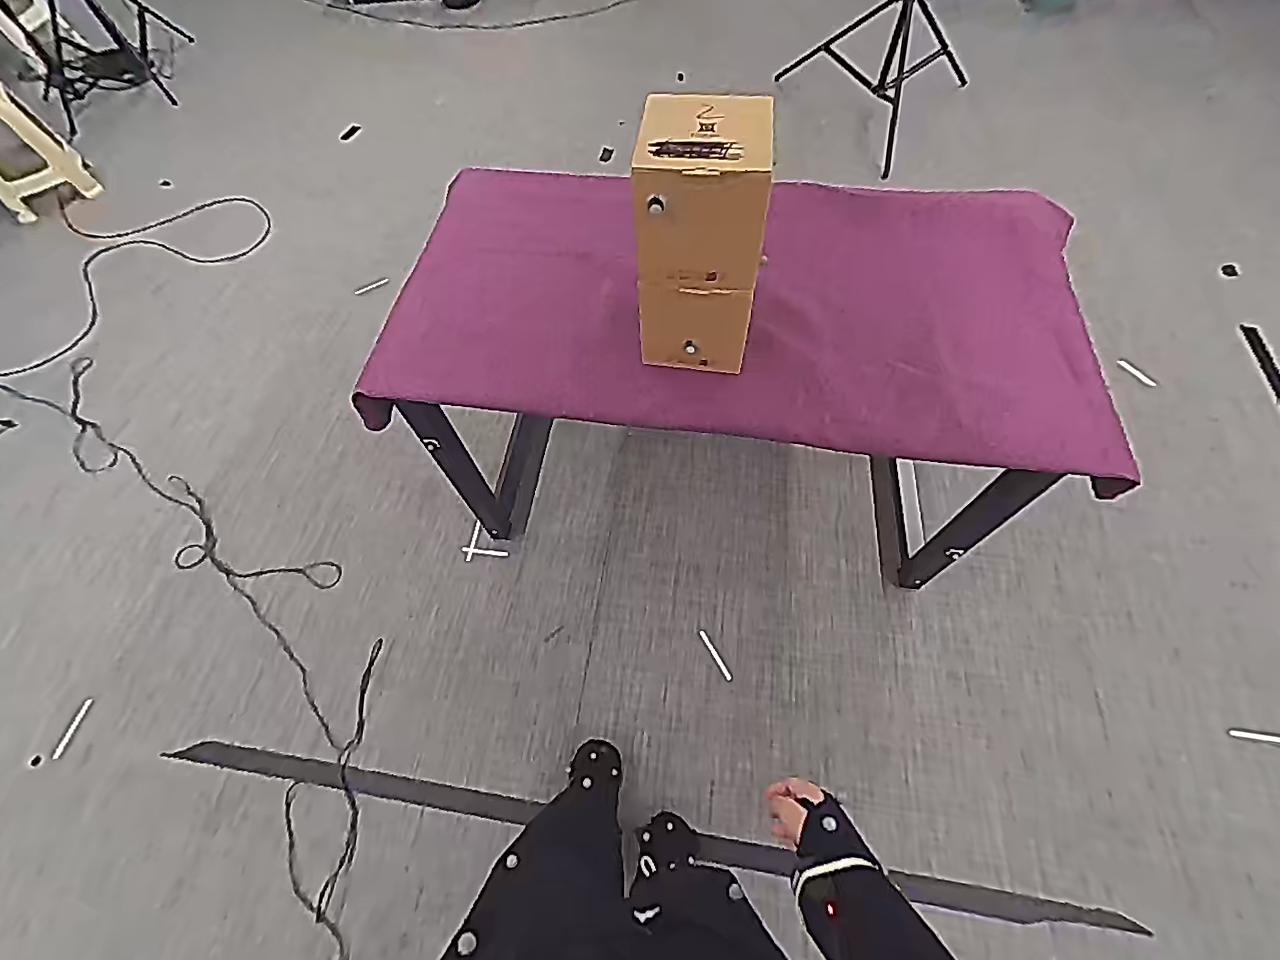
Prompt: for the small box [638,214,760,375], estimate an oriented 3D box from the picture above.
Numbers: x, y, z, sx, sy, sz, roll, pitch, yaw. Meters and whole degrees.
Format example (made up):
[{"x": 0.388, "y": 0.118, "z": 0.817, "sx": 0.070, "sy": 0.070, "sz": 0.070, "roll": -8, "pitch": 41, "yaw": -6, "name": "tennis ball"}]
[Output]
[{"x": 0.094, "y": -0.298, "z": 0.879, "sx": 0.168, "sy": 0.176, "sz": 0.179, "roll": 8, "pitch": 61, "yaw": 8, "name": "small box"}]
